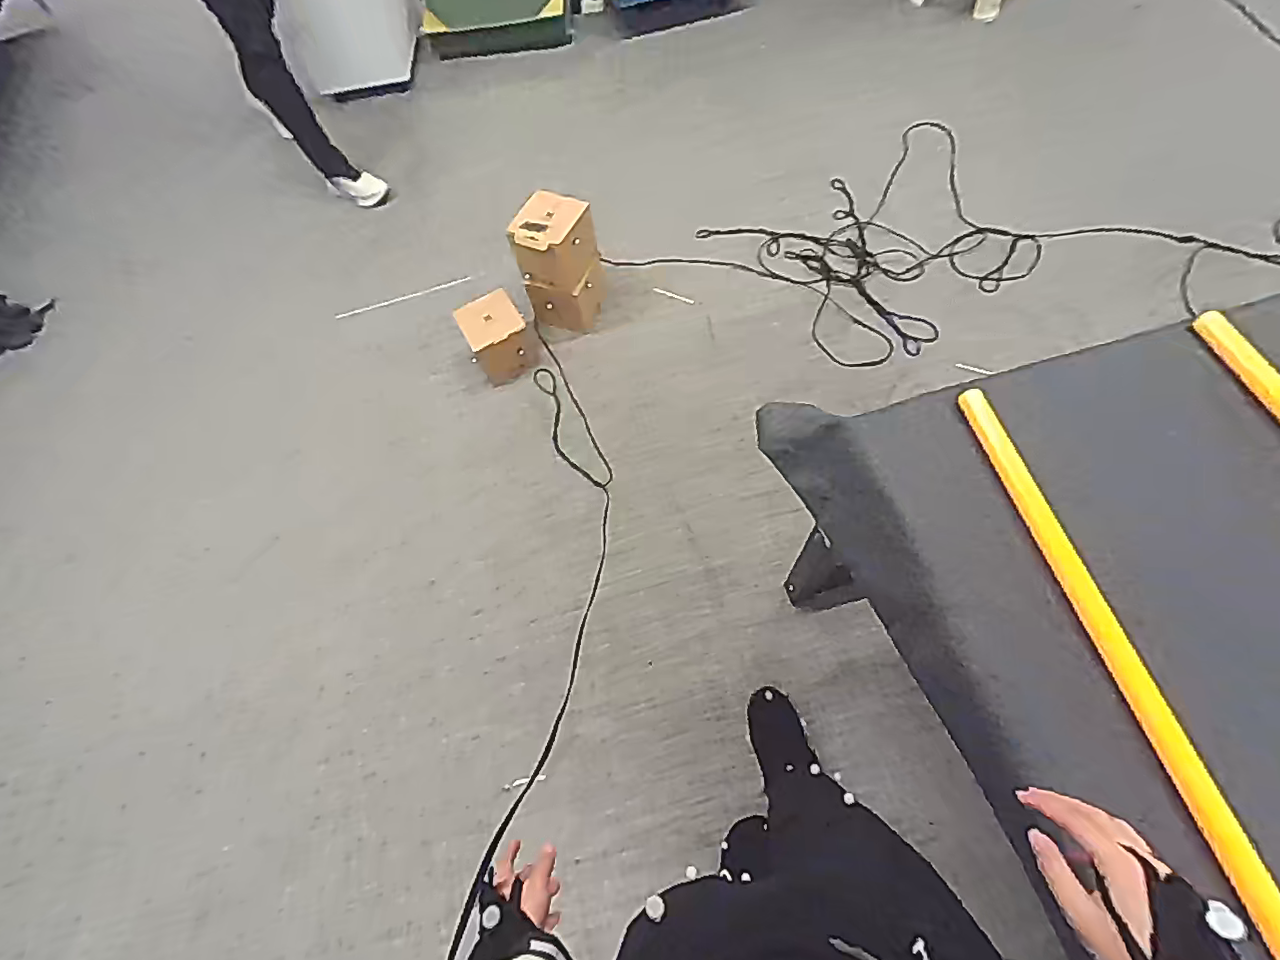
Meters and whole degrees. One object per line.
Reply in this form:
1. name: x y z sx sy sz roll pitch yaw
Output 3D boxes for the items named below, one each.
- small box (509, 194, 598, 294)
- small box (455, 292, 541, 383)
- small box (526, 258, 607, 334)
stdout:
1. small box: -0.233 -0.654 1.511 0.168 0.176 0.179 22 68 15
2. small box: -0.416 -0.413 1.605 0.168 0.176 0.179 -30 65 -9
3. small box: -0.217 -0.573 1.654 0.179 0.176 0.168 17 67 14
